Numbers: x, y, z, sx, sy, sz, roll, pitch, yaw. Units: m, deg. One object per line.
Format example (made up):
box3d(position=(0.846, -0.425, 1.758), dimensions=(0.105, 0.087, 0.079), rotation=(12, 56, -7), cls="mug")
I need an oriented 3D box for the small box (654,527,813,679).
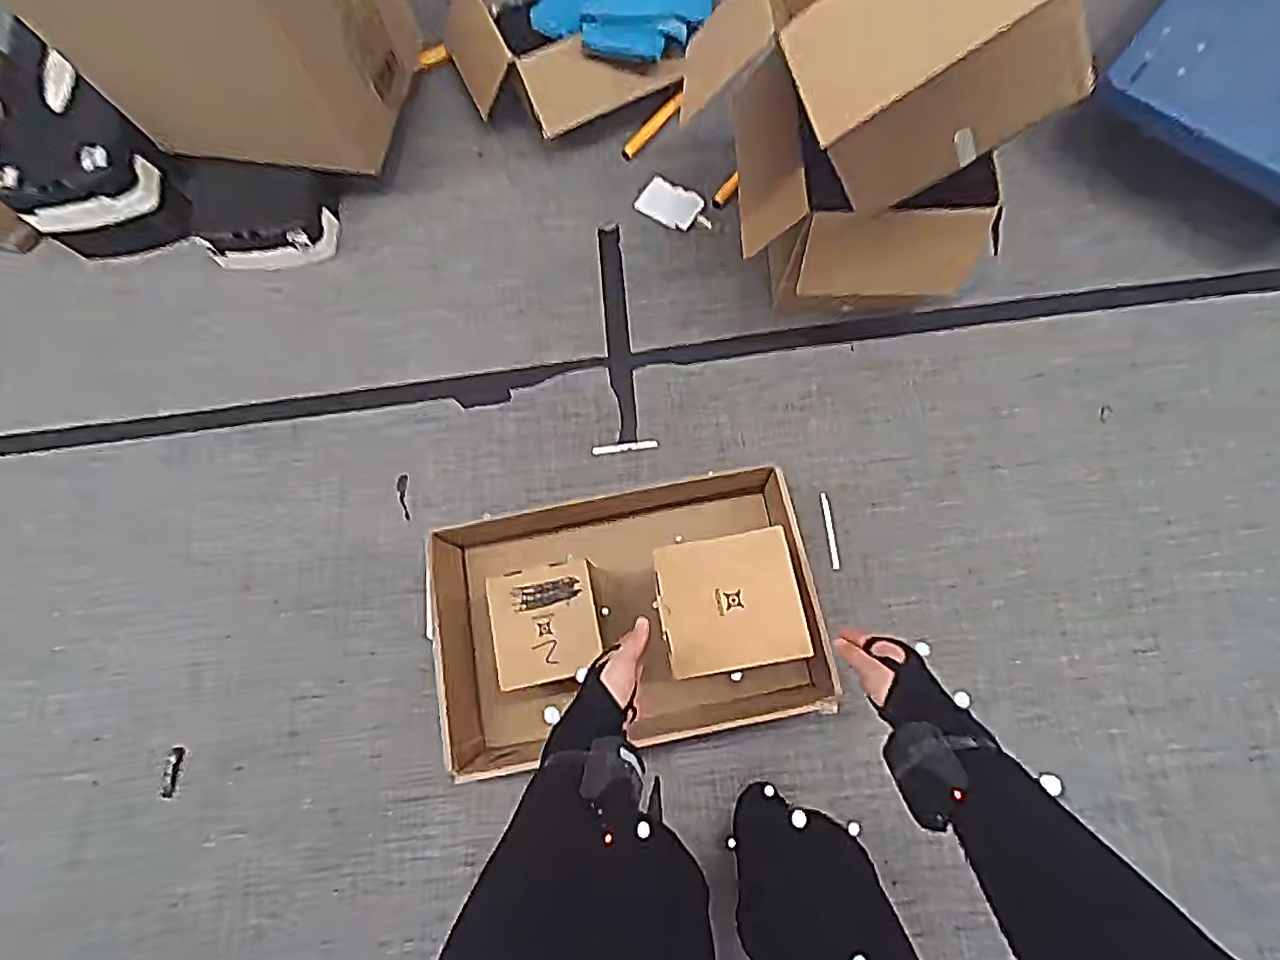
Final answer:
box3d(position=(0.119, 0.169, 0.755), dimensions=(0.179, 0.176, 0.168), rotation=(-11, 76, 2), cls="small box")
